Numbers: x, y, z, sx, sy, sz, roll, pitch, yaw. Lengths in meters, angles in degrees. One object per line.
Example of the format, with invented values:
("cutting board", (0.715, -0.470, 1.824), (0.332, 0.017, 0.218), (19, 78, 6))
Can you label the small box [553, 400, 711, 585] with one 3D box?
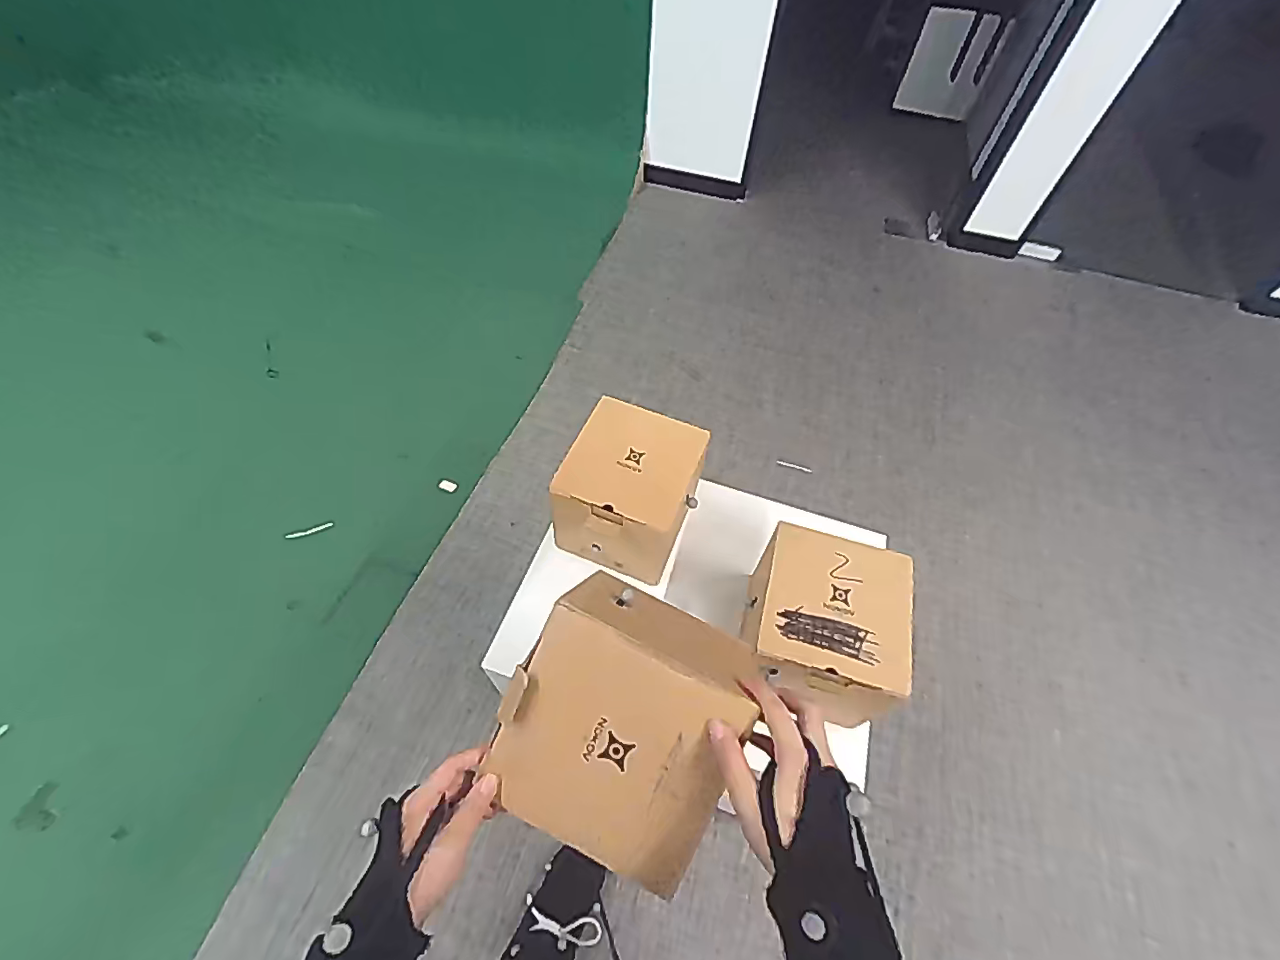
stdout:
("small box", (-0.013, 0.022, 0.781), (0.168, 0.176, 0.179), (20, 58, 9))

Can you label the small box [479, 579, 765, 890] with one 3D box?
("small box", (-0.008, 0.201, 0.491), (0.179, 0.176, 0.168), (24, 92, 6))
